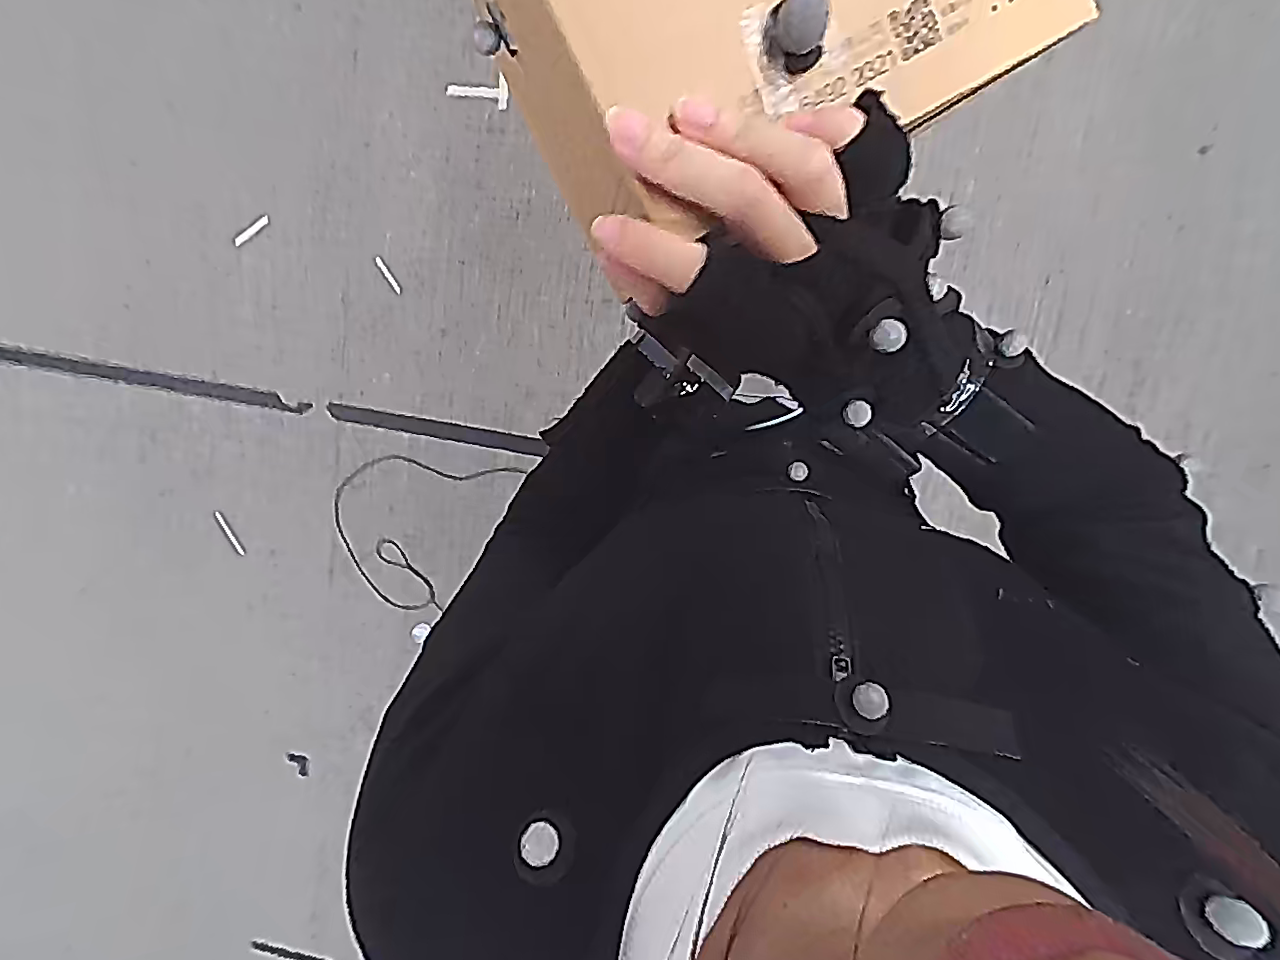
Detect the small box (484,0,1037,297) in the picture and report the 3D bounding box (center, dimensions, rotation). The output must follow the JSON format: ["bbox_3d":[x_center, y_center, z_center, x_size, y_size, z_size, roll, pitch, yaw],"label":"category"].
[{"bbox_3d":[0.034,-0.205,0.261,0.168,0.179,0.176,-30,104,0],"label":"small box"}]
